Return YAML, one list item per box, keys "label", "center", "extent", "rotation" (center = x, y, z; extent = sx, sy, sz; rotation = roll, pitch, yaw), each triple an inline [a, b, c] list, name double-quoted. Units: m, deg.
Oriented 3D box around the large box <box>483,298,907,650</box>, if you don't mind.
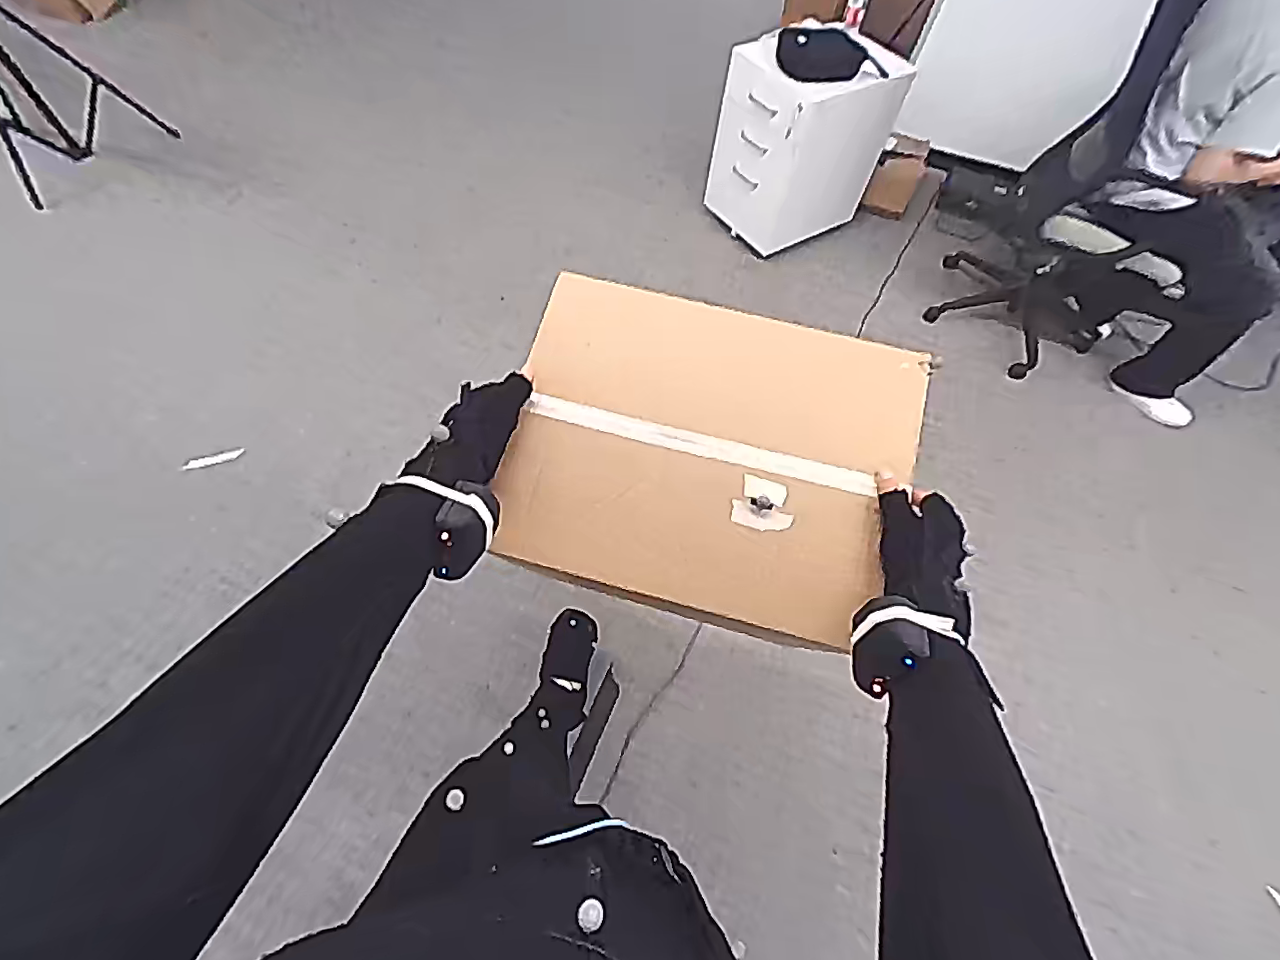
- label: "large box"
  center: [0.066, 0.016, 0.714]
  extent: [0.408, 0.320, 0.320]
  rotation: [15, 76, 4]
